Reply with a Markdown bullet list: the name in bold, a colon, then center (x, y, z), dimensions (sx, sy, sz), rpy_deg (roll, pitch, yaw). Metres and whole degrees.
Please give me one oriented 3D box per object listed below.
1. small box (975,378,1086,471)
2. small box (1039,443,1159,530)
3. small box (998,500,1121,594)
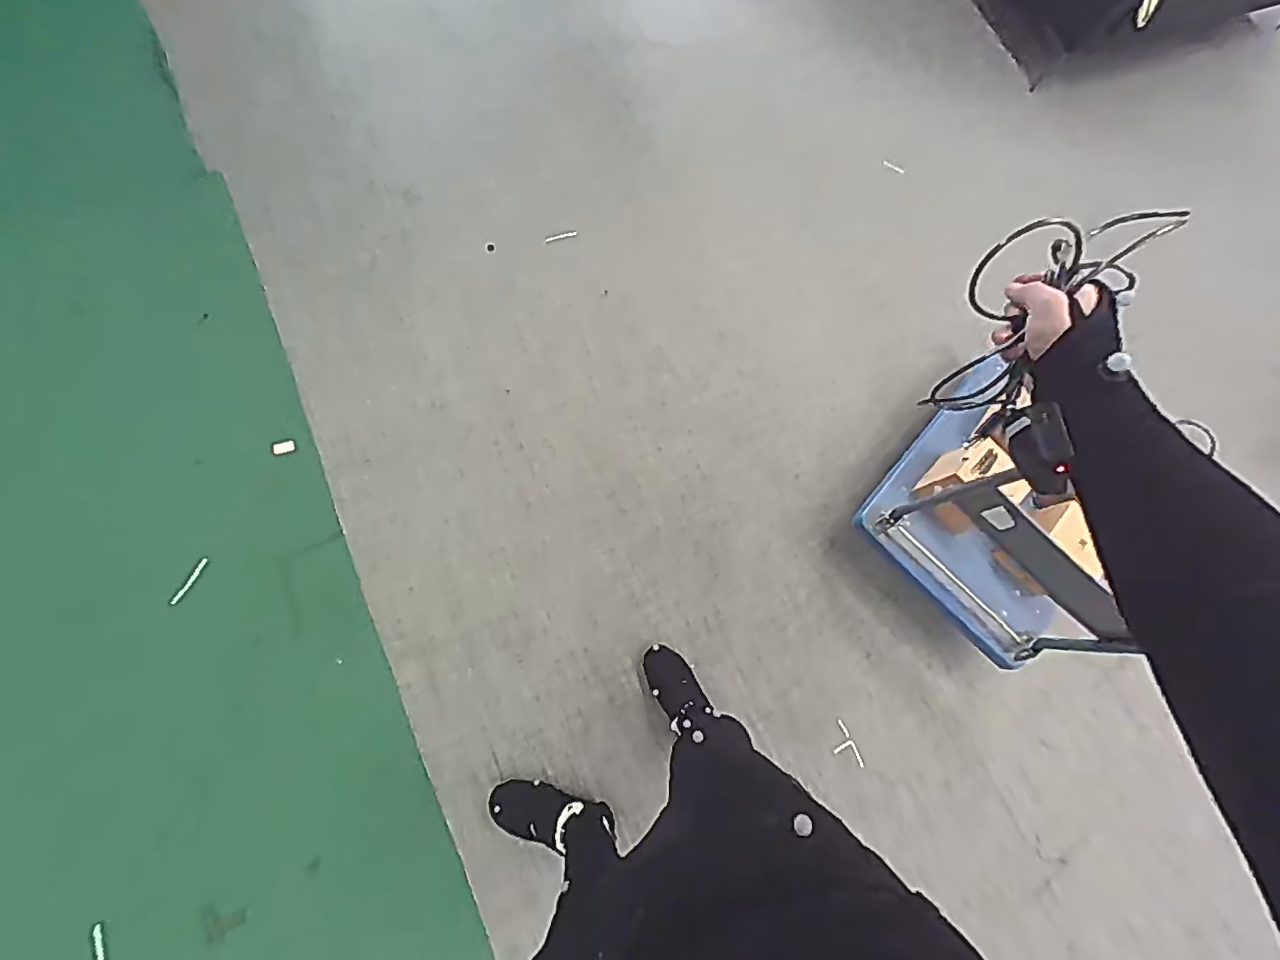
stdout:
- **small box**: center (1.106, -0.151, 1.547), dimensions (0.168, 0.176, 0.179), rpy_deg (42, 71, 3)
- **small box**: center (1.285, 0.030, 1.526), dimensions (0.168, 0.176, 0.179), rpy_deg (43, 72, 5)
- **small box**: center (1.113, 0.184, 1.449), dimensions (0.179, 0.176, 0.168), rpy_deg (-42, 84, -18)
